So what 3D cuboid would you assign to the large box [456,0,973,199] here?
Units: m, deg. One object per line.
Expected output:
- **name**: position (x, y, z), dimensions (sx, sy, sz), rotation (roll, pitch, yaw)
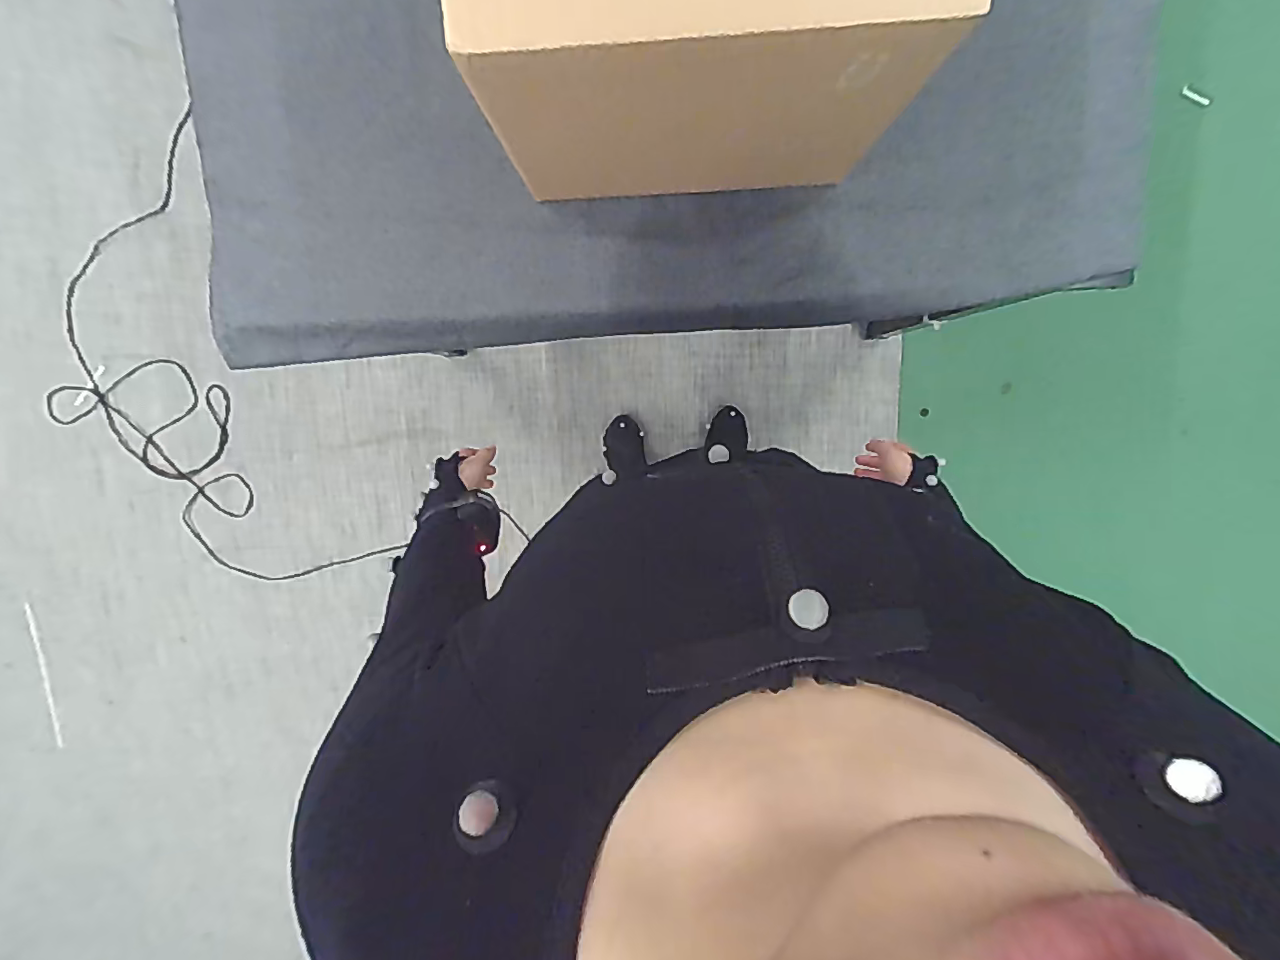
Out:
- **large box**: position (0.048, -0.513, 0.543), dimensions (0.408, 0.320, 0.320), rotation (-3, 99, 1)
